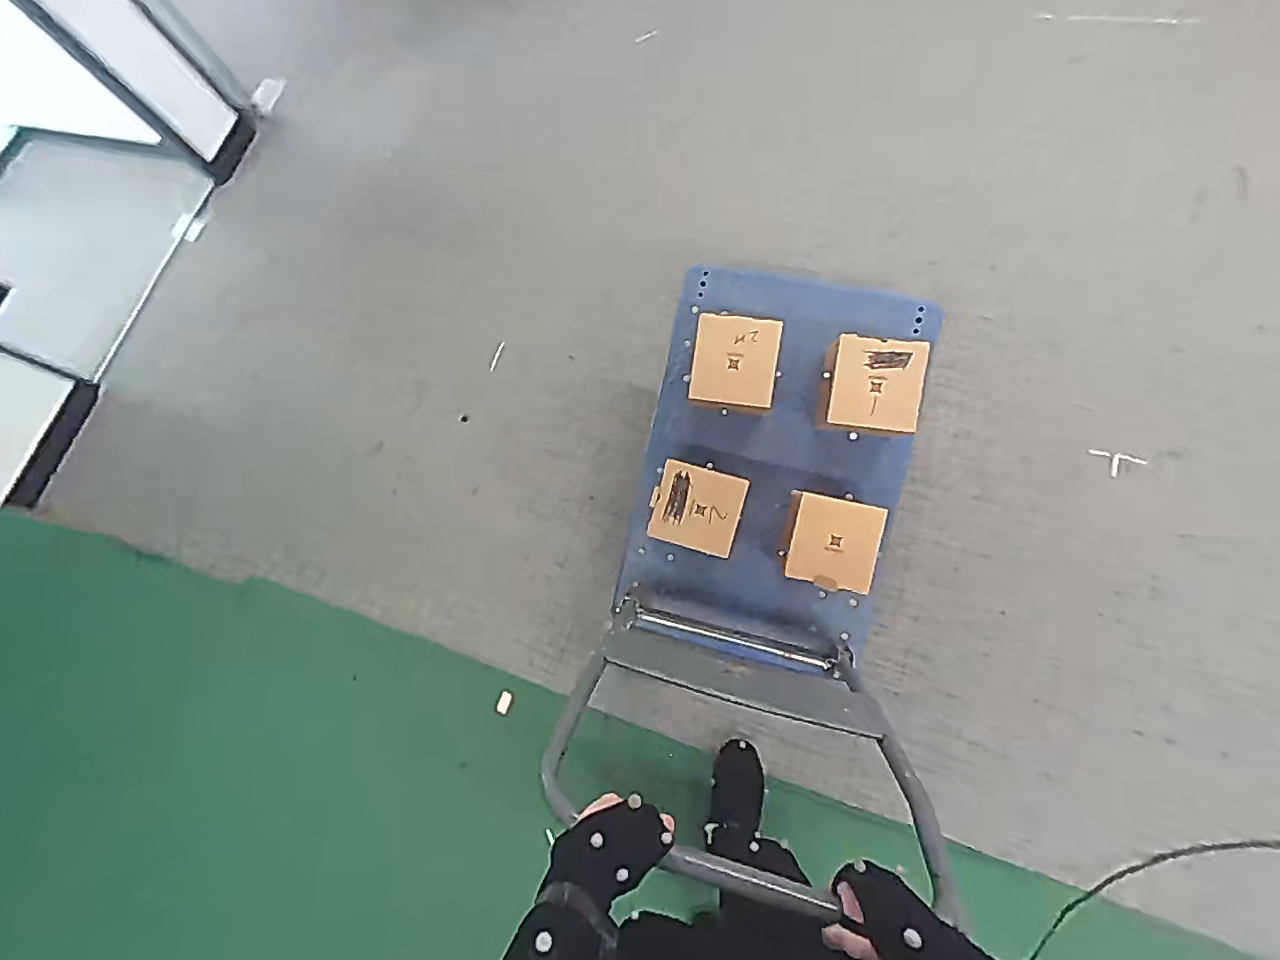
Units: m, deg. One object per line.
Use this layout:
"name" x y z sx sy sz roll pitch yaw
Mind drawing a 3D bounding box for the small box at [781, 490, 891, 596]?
"small box" 0.399 0.122 1.134 0.168 0.176 0.179 13 94 8

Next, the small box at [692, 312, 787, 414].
"small box" 0.210 -0.241 1.156 0.168 0.176 0.179 9 92 8

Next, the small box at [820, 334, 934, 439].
"small box" 0.477 -0.186 1.115 0.168 0.176 0.179 9 93 9
